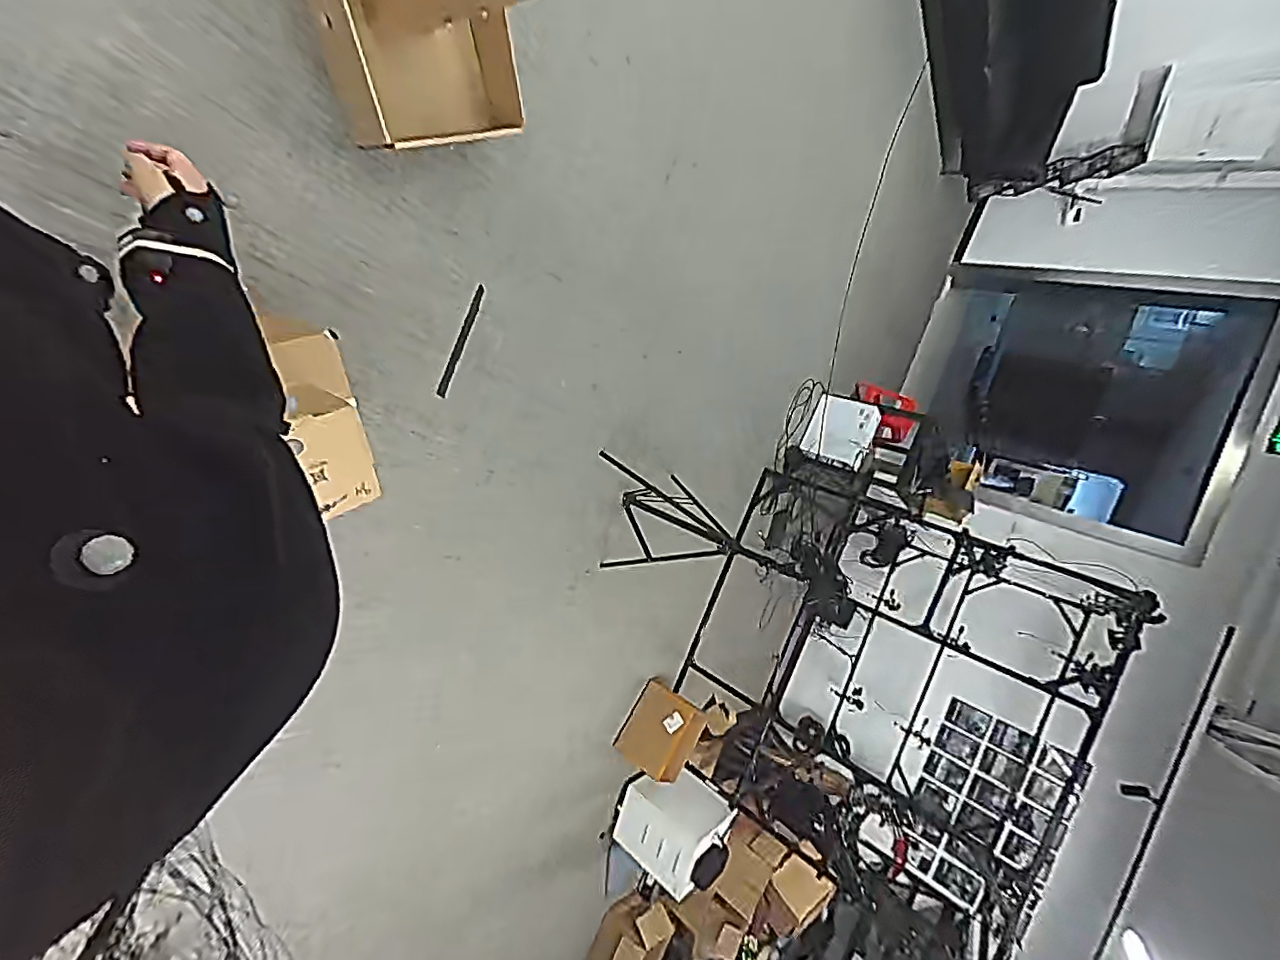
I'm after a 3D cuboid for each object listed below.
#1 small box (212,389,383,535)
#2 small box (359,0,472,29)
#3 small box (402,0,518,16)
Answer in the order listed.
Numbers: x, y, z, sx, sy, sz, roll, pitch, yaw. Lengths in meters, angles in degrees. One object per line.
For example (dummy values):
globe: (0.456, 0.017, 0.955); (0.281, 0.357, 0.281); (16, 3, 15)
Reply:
small box: (-0.567, -0.042, 0.899); (0.168, 0.176, 0.179); (-32, 131, -39)
small box: (-0.498, -1.097, 1.164); (0.179, 0.176, 0.168); (-34, 132, -39)
small box: (-0.374, -1.047, 1.072); (0.179, 0.176, 0.168); (-35, 132, -37)
